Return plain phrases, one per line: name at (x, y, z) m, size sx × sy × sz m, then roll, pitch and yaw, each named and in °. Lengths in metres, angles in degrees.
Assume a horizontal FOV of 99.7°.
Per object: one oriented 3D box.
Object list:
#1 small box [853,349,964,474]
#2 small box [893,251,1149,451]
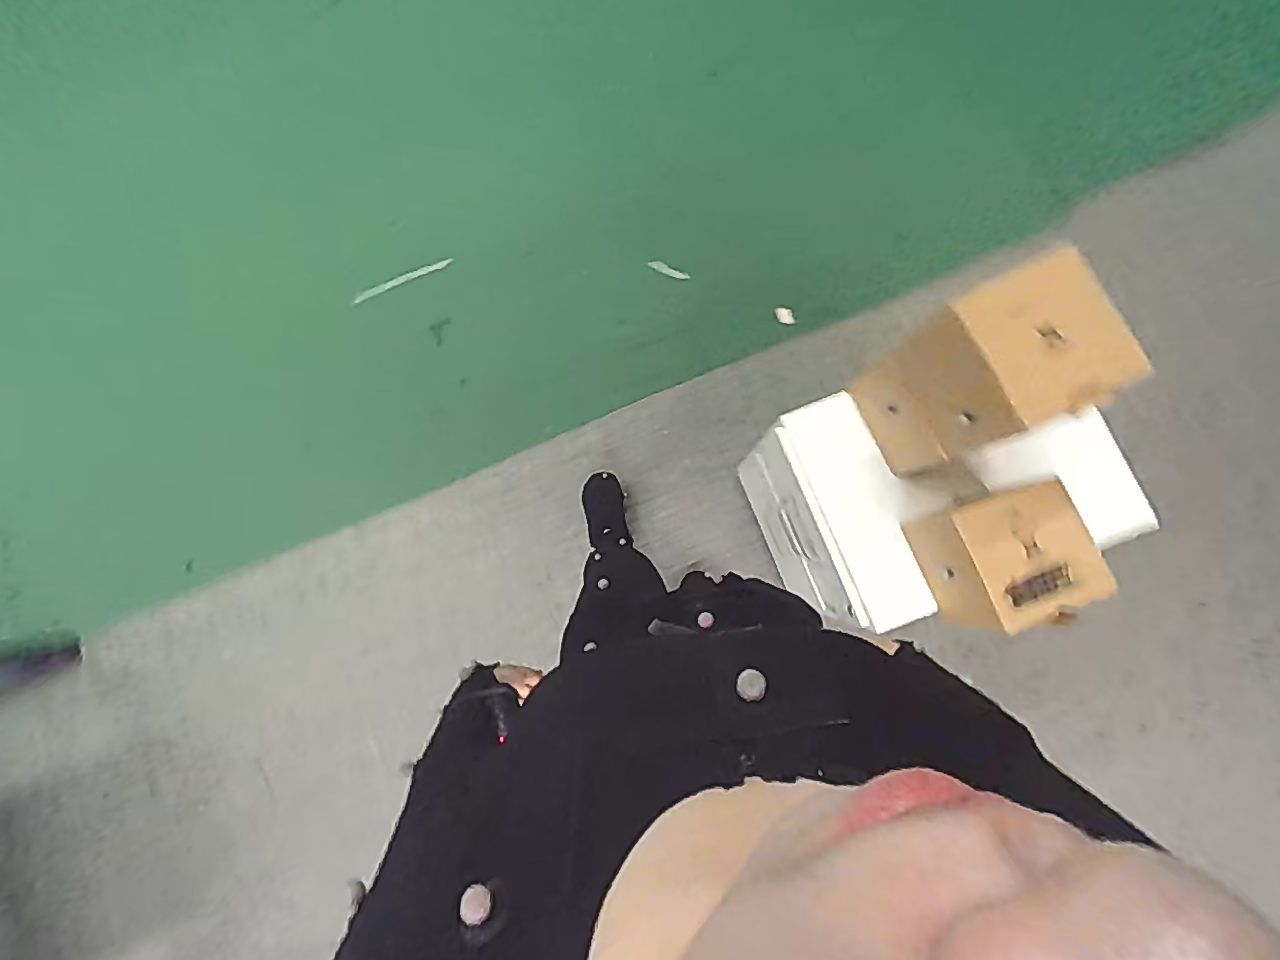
small box at (0.471, -0.127, 0.859) m, size 0.168 × 0.176 × 0.179 m, roll -25°, pitch 82°, yaw -1°
small box at (0.469, -0.148, 0.697) m, size 0.168 × 0.176 × 0.179 m, roll -26°, pitch 83°, yaw -3°
